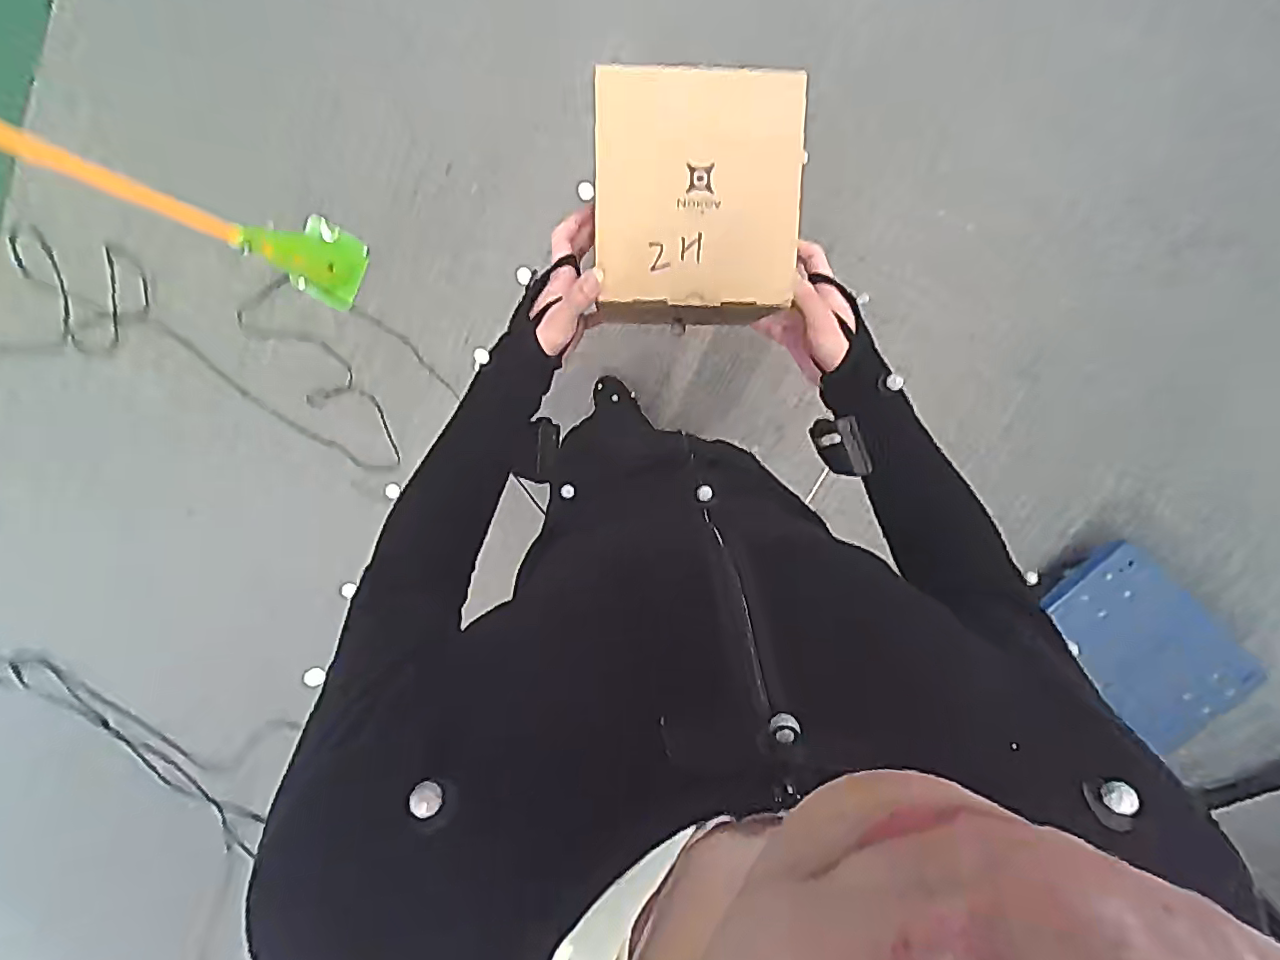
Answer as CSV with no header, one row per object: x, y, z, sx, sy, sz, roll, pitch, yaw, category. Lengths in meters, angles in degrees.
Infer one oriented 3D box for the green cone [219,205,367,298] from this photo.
-0.914,-0.617,1.383,0.200,0.368,0.202,29,103,-3,green cone

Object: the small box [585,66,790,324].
0.034,-0.250,0.516,0.168,0.176,0.179,0,101,-2,small box
